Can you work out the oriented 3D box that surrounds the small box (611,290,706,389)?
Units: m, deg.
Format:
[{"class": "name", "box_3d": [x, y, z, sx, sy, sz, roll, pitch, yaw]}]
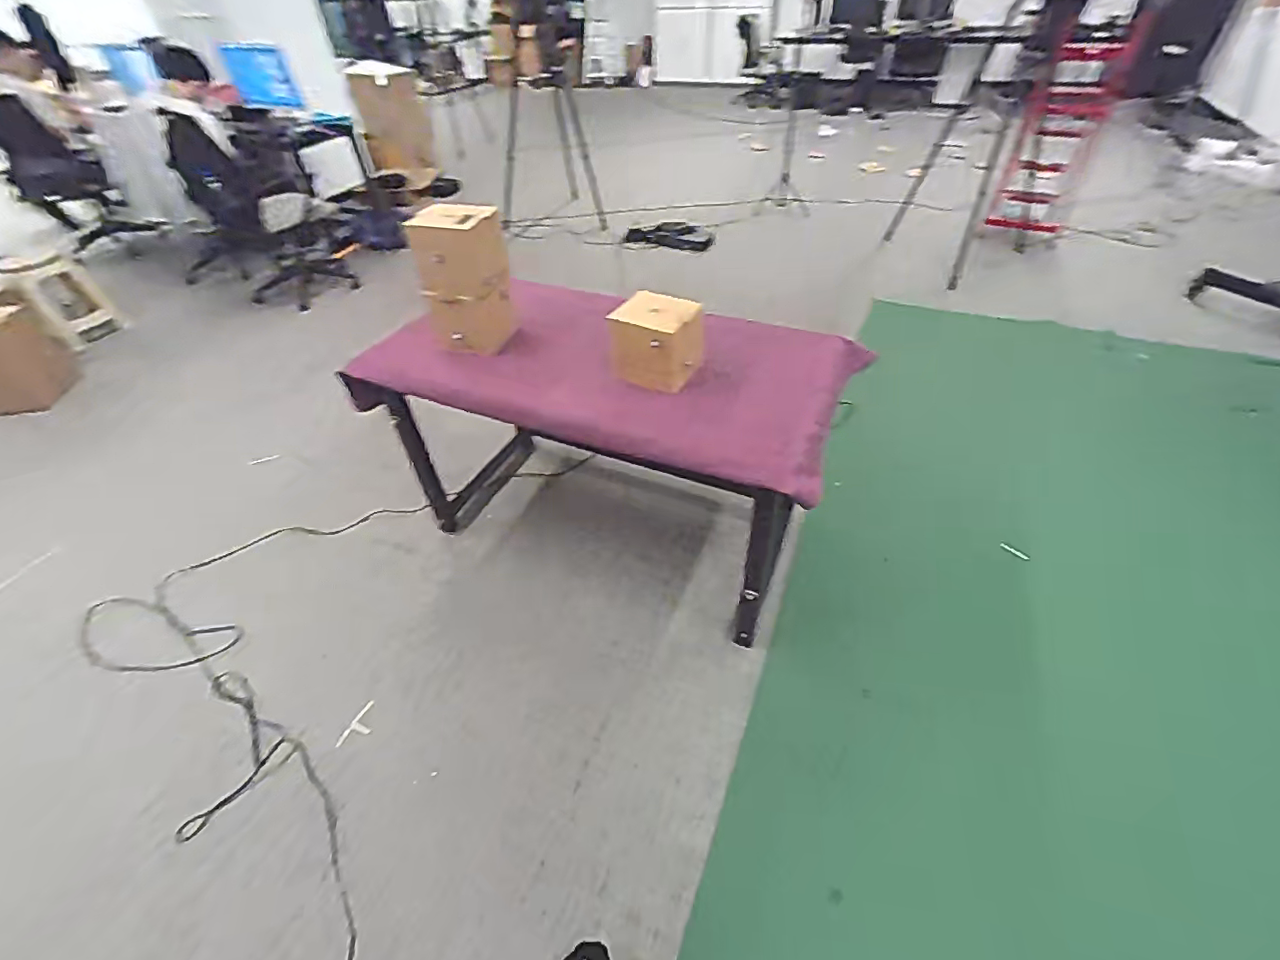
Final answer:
[{"class": "small box", "box_3d": [0.048, -0.347, 1.340, 0.179, 0.176, 0.168, 21, 49, 23]}]

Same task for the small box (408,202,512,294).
[{"class": "small box", "box_3d": [-0.449, -0.591, 1.385, 0.179, 0.176, 0.168, 13, 44, 16]}]

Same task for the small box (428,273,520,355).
[{"class": "small box", "box_3d": [-0.449, -0.470, 1.499, 0.168, 0.176, 0.179, 11, 46, 15]}]
